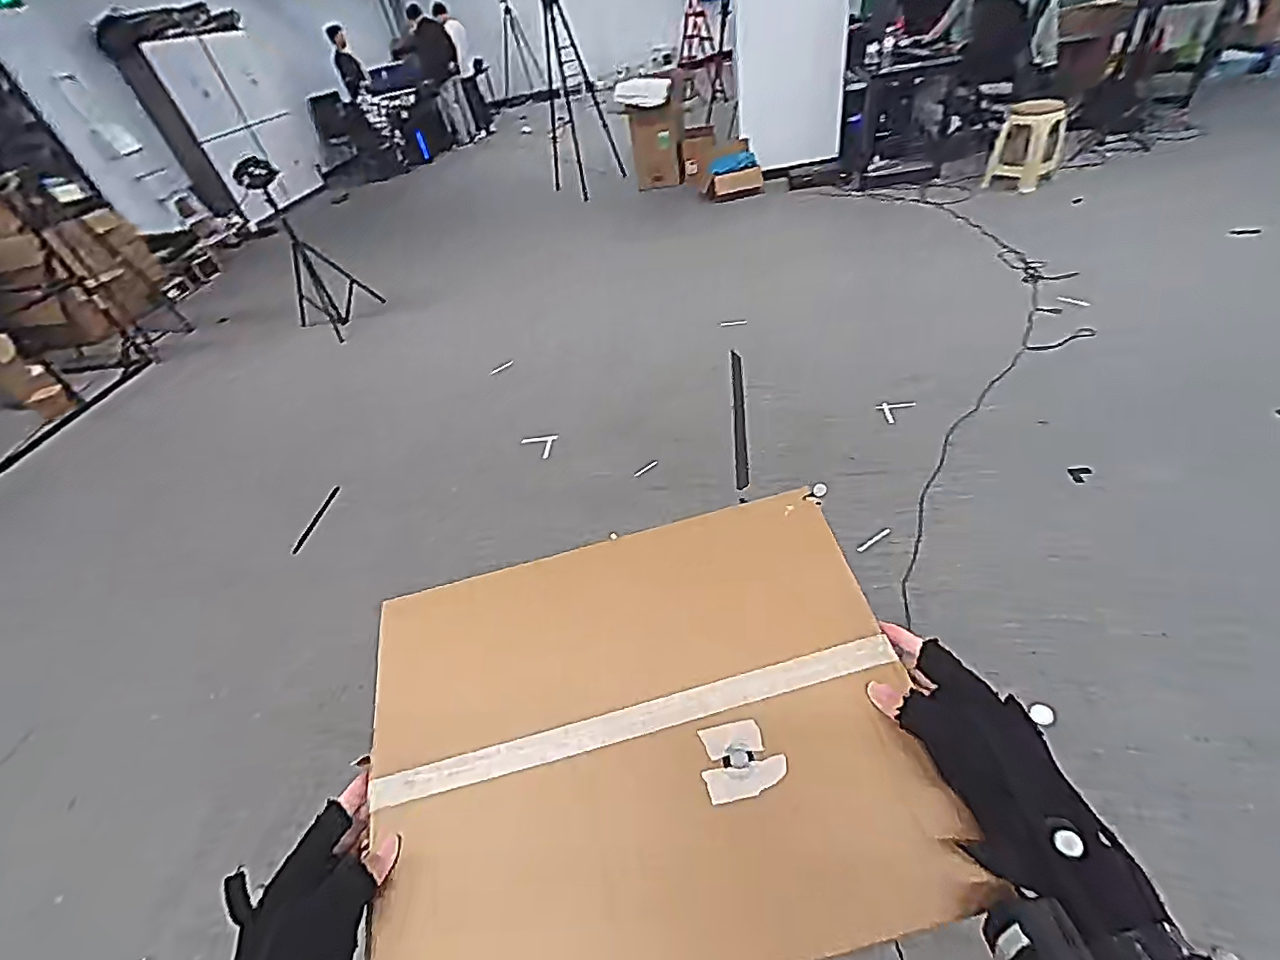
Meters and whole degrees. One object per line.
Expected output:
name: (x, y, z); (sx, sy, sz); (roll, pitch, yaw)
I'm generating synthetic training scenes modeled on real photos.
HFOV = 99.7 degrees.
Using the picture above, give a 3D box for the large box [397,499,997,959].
large box: (0.025, 0.272, 0.545); (0.408, 0.320, 0.320); (-15, 55, -1)
